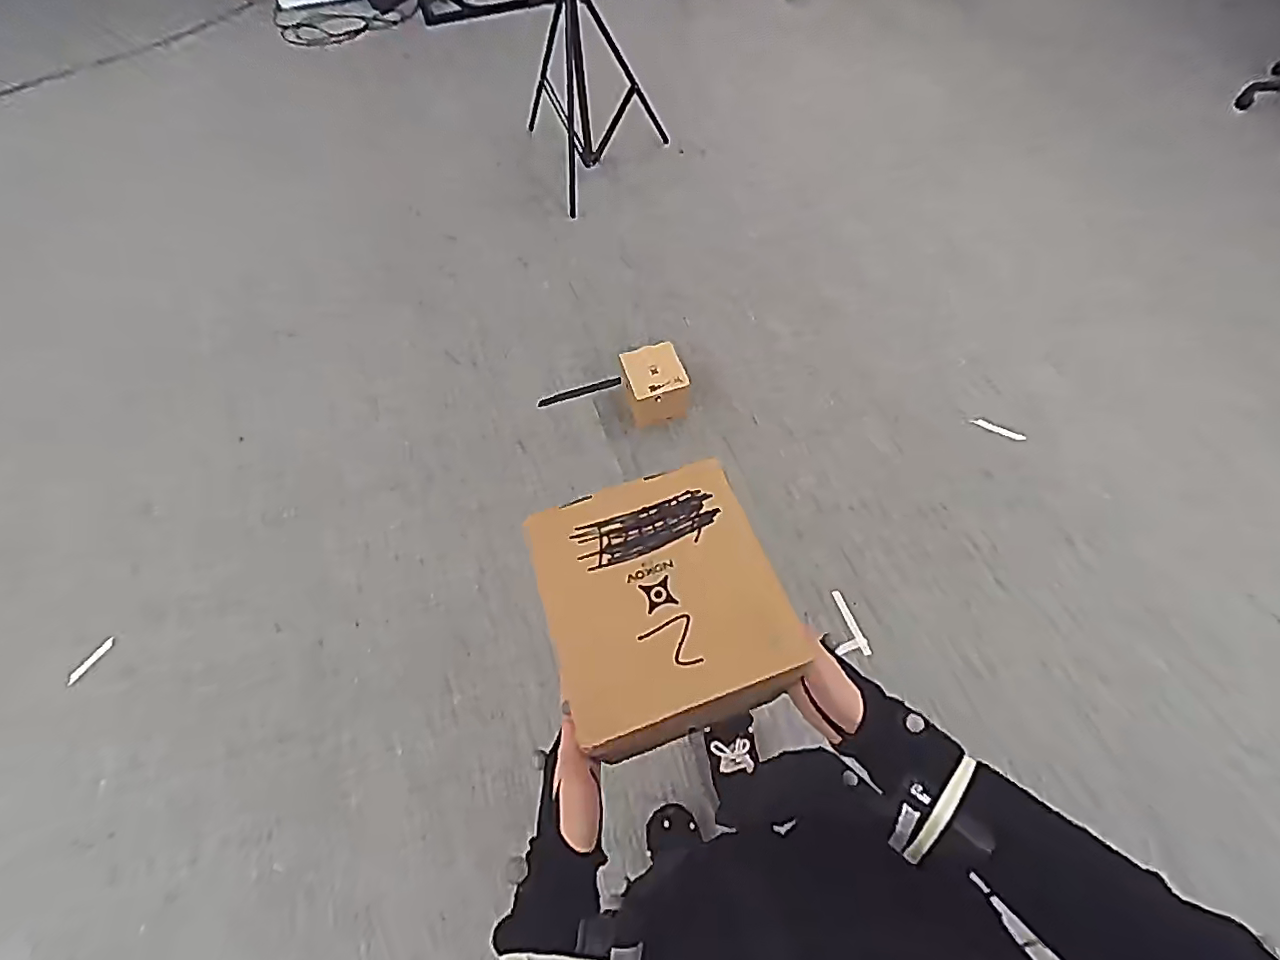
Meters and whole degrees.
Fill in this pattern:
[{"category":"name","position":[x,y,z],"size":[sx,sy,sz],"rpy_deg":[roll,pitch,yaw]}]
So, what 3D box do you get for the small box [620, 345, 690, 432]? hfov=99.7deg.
[{"category":"small box","position":[0.043,-0.277,1.650],"size":[0.168,0.176,0.179],"rpy_deg":[-17,63,-7]}]
